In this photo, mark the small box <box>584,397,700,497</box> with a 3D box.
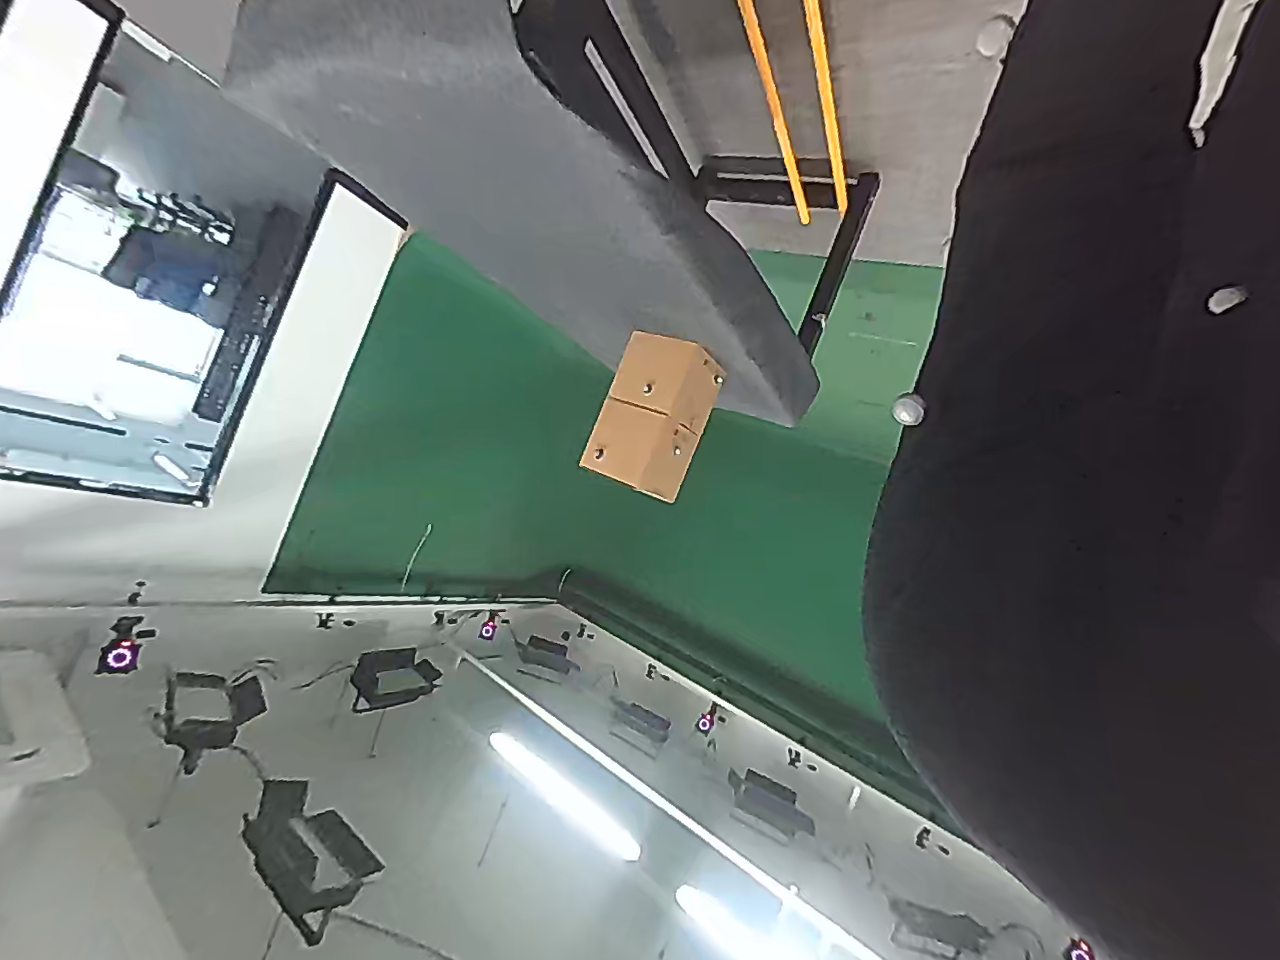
[{"bbox_3d":[0.009,-0.078,1.237,0.179,0.176,0.168,21,180,35],"label":"small box"}]

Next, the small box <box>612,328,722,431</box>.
[{"bbox_3d":[0.071,-0.231,1.237,0.179,0.176,0.168,22,180,33],"label":"small box"}]
